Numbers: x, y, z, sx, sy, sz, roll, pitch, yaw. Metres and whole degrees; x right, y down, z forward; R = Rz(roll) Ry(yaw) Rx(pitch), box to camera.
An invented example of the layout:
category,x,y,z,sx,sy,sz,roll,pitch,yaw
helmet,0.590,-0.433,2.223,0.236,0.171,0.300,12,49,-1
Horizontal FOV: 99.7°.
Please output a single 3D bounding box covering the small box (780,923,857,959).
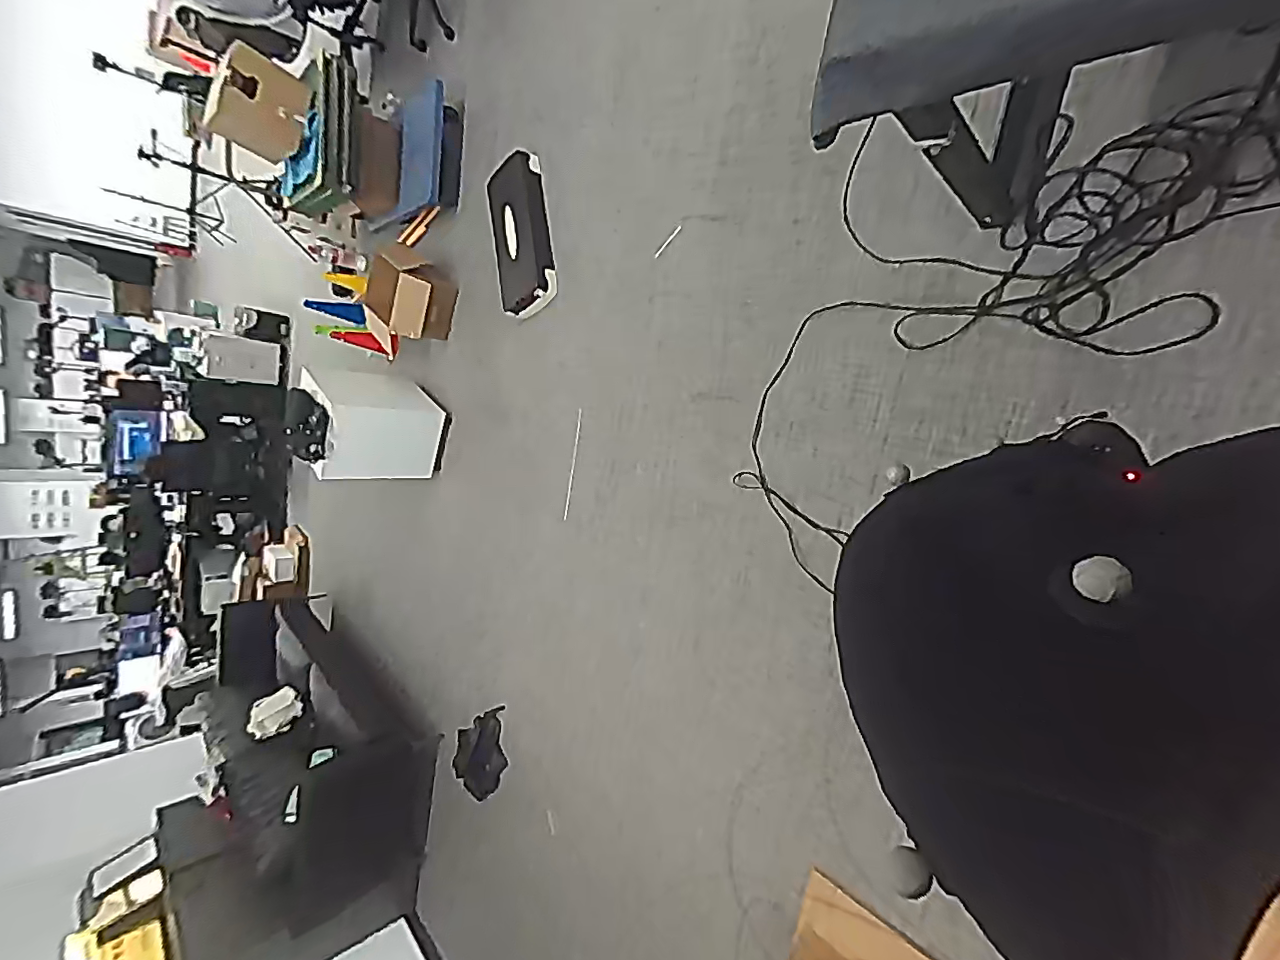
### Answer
category,x,y,z,sx,sy,sz,roll,pitch,yaw
small box,0.467,1.321,1.405,0.179,0.176,0.168,19,105,43
